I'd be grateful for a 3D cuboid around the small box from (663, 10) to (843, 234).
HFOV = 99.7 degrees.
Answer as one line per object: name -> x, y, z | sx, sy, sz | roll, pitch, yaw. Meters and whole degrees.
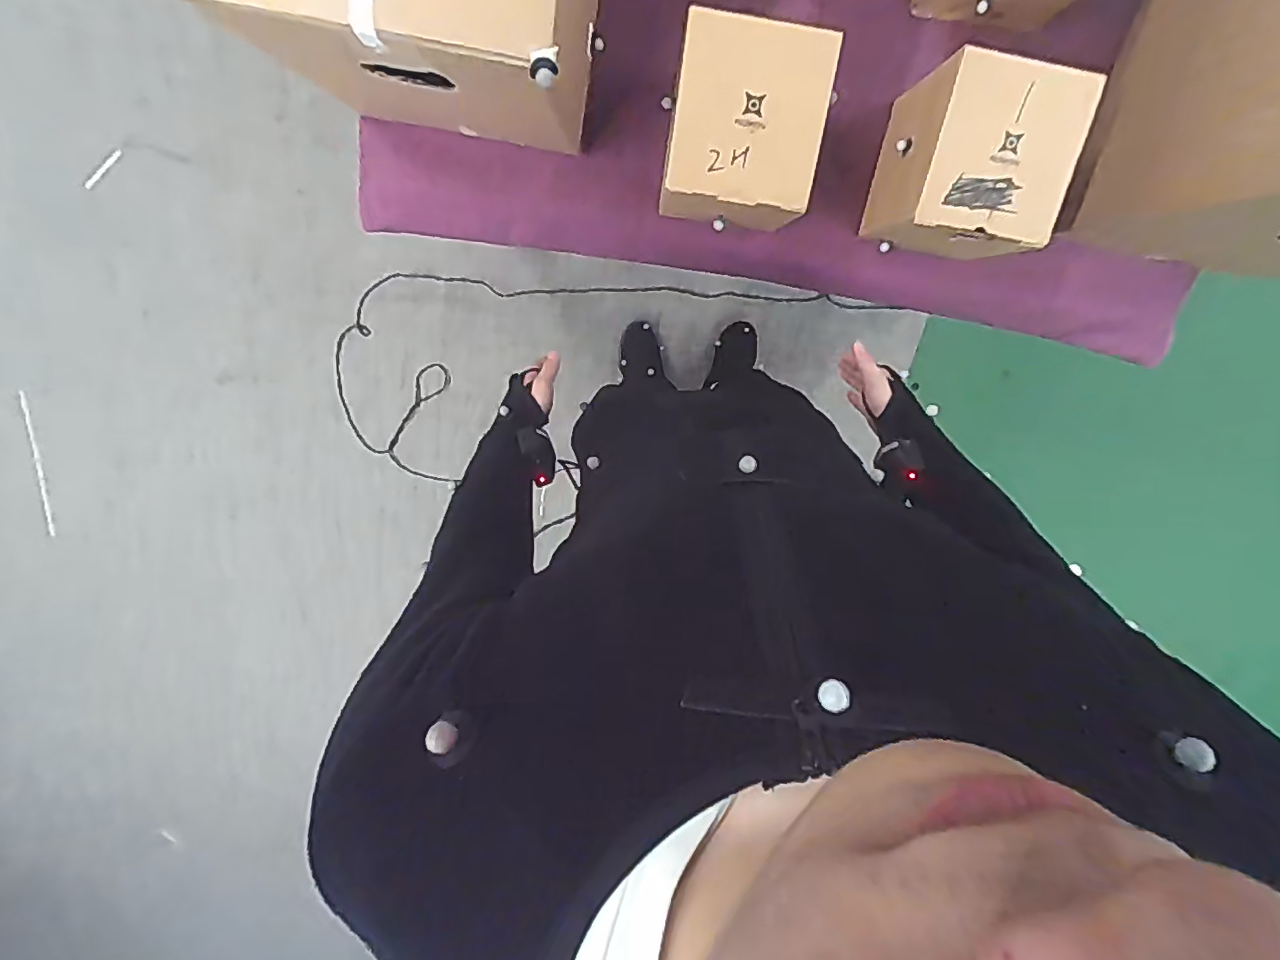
small box -> 0.121, -0.418, 0.663 | 0.168, 0.176, 0.179 | 8, 107, -2
